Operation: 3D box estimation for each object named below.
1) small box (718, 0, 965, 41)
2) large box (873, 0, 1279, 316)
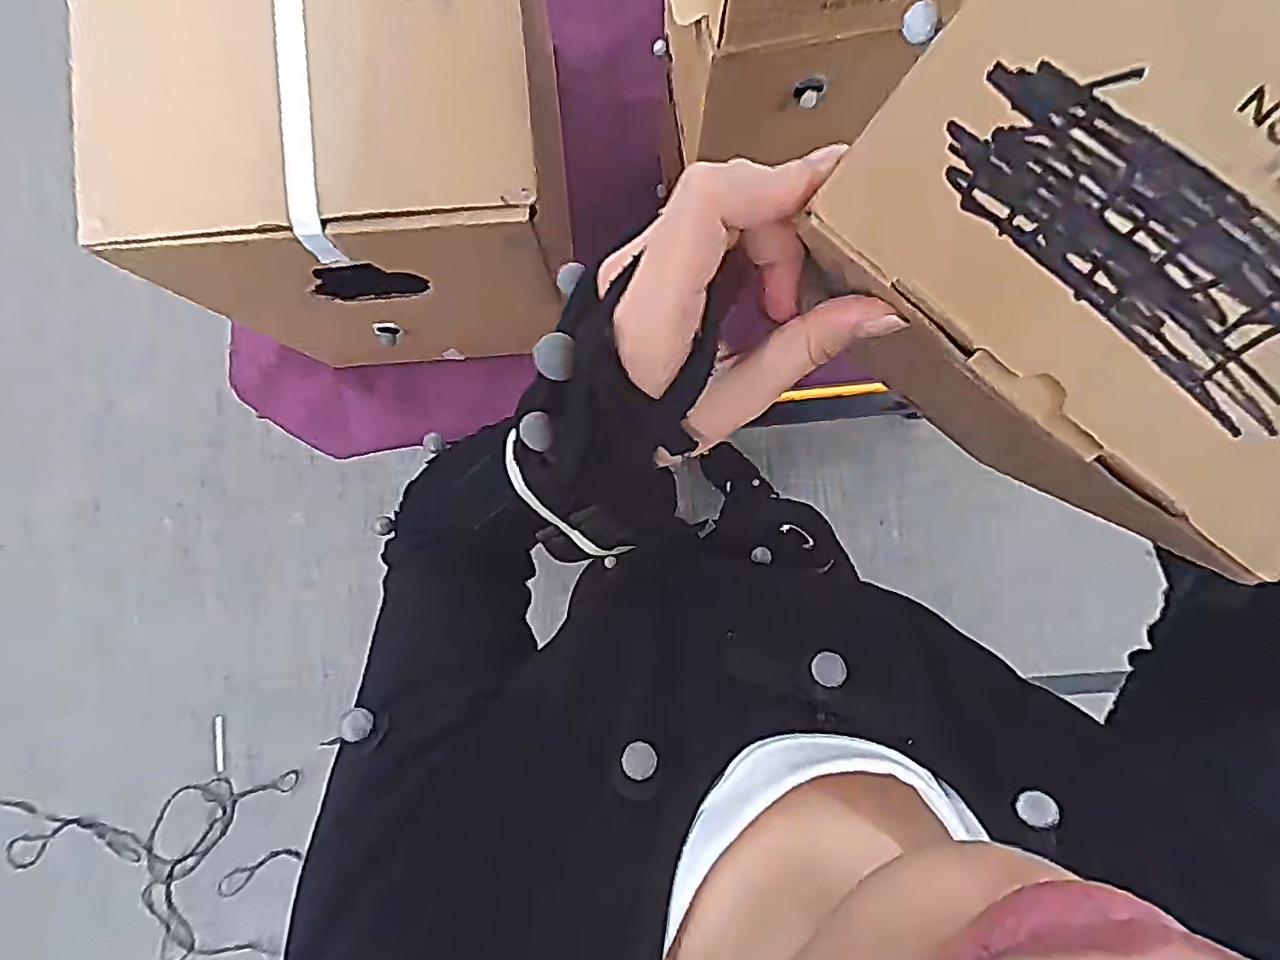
[{"bbox_3d":[0.116,-0.372,0.260,0.168,0.176,0.179,-10,87,0],"label":"small box"},{"bbox_3d":[0.456,-0.419,0.516,0.320,0.320,0.408,-6,85,0],"label":"large box"}]
